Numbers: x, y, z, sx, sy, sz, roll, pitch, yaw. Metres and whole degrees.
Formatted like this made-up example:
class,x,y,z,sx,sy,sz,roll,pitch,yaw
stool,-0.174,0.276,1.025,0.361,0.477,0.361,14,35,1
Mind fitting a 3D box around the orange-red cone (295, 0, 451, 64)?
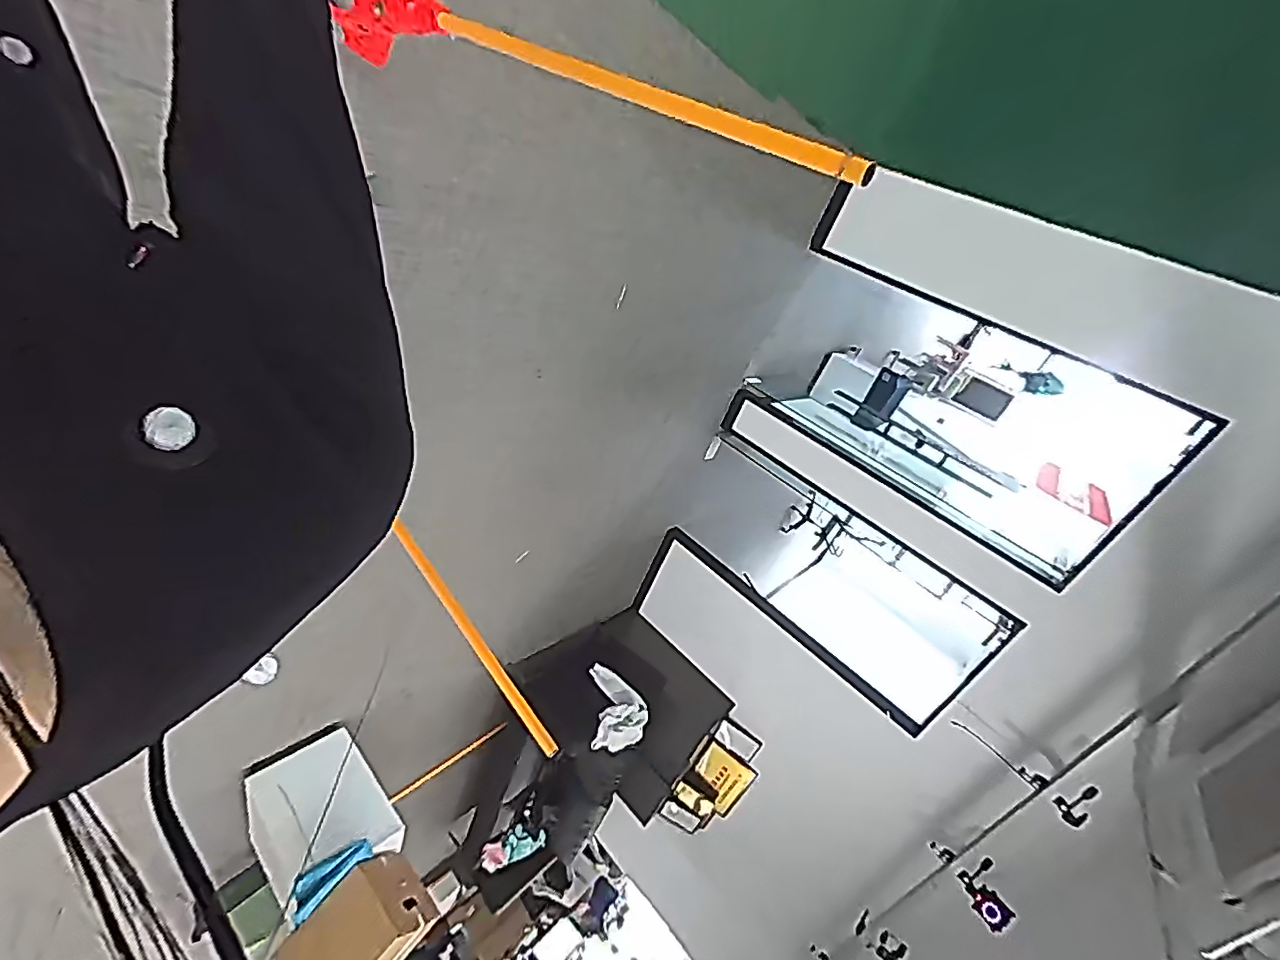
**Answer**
class,x,y,z,sx,sy,sz,roll,pitch,yaw
orange-red cone,-0.472,-0.918,1.039,0.198,0.360,0.199,2,123,-57
